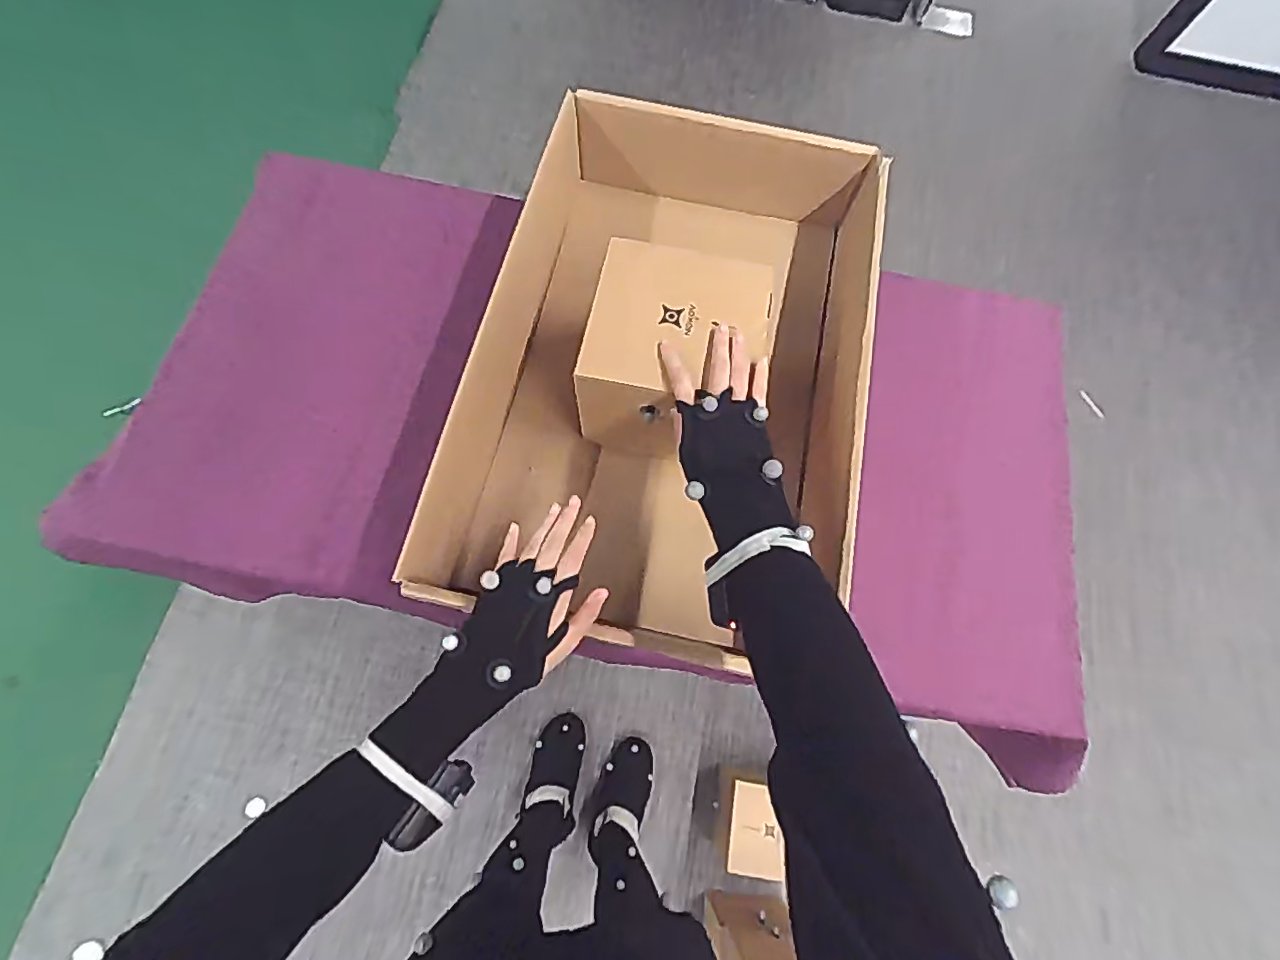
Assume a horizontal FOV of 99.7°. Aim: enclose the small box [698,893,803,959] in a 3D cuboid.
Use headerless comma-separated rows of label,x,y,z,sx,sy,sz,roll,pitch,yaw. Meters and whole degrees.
small box,0.216,0.966,1.089,0.179,0.176,0.168,7,72,-1
